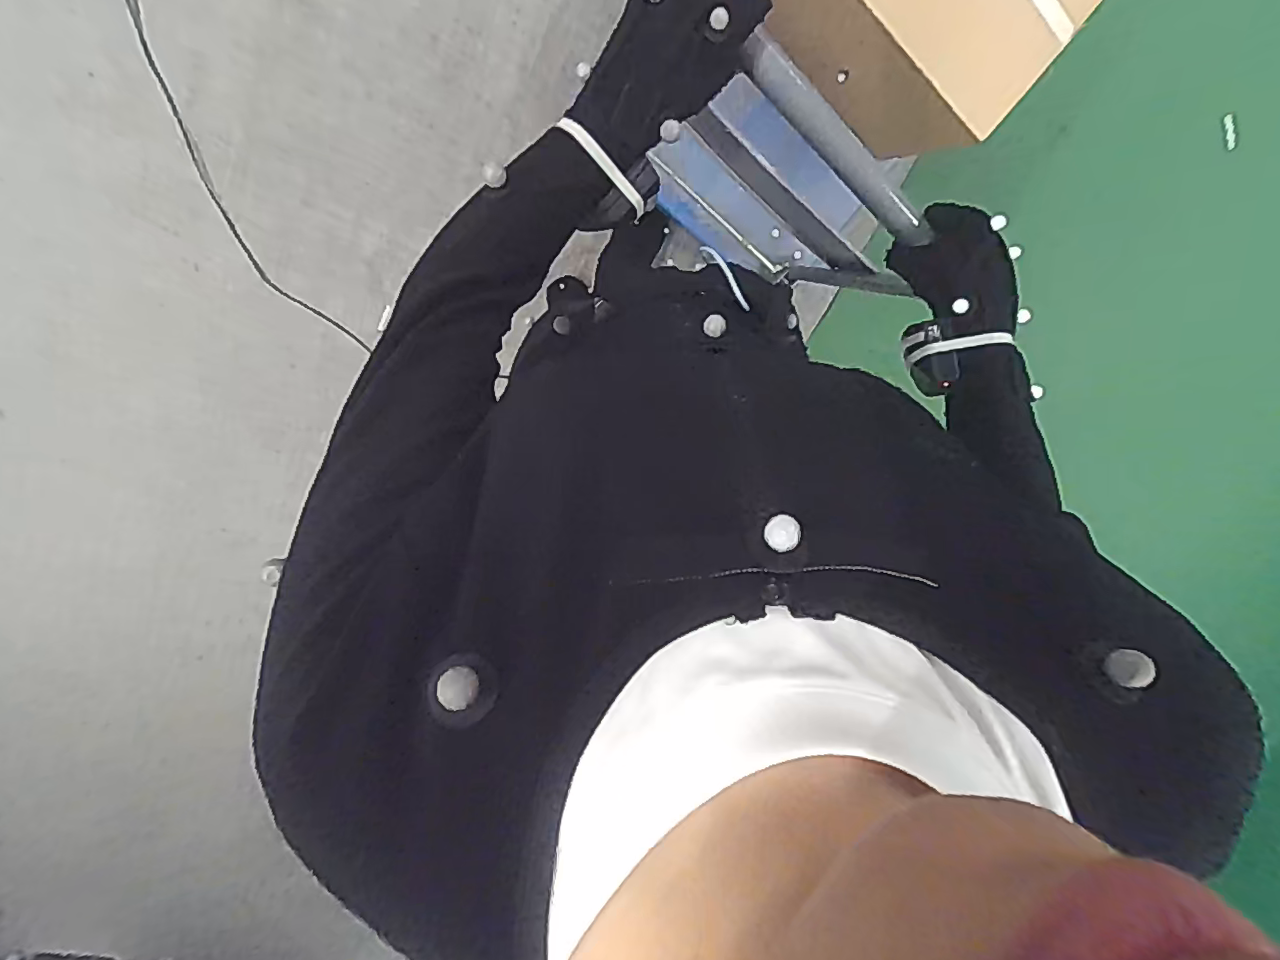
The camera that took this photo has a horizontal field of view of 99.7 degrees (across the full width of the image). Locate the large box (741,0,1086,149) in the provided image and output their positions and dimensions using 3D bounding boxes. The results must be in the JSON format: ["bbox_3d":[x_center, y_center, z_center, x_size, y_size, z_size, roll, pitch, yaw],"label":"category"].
[{"bbox_3d":[0.436,-0.810,0.859,0.408,0.320,0.320,31,109,-19],"label":"large box"}]
